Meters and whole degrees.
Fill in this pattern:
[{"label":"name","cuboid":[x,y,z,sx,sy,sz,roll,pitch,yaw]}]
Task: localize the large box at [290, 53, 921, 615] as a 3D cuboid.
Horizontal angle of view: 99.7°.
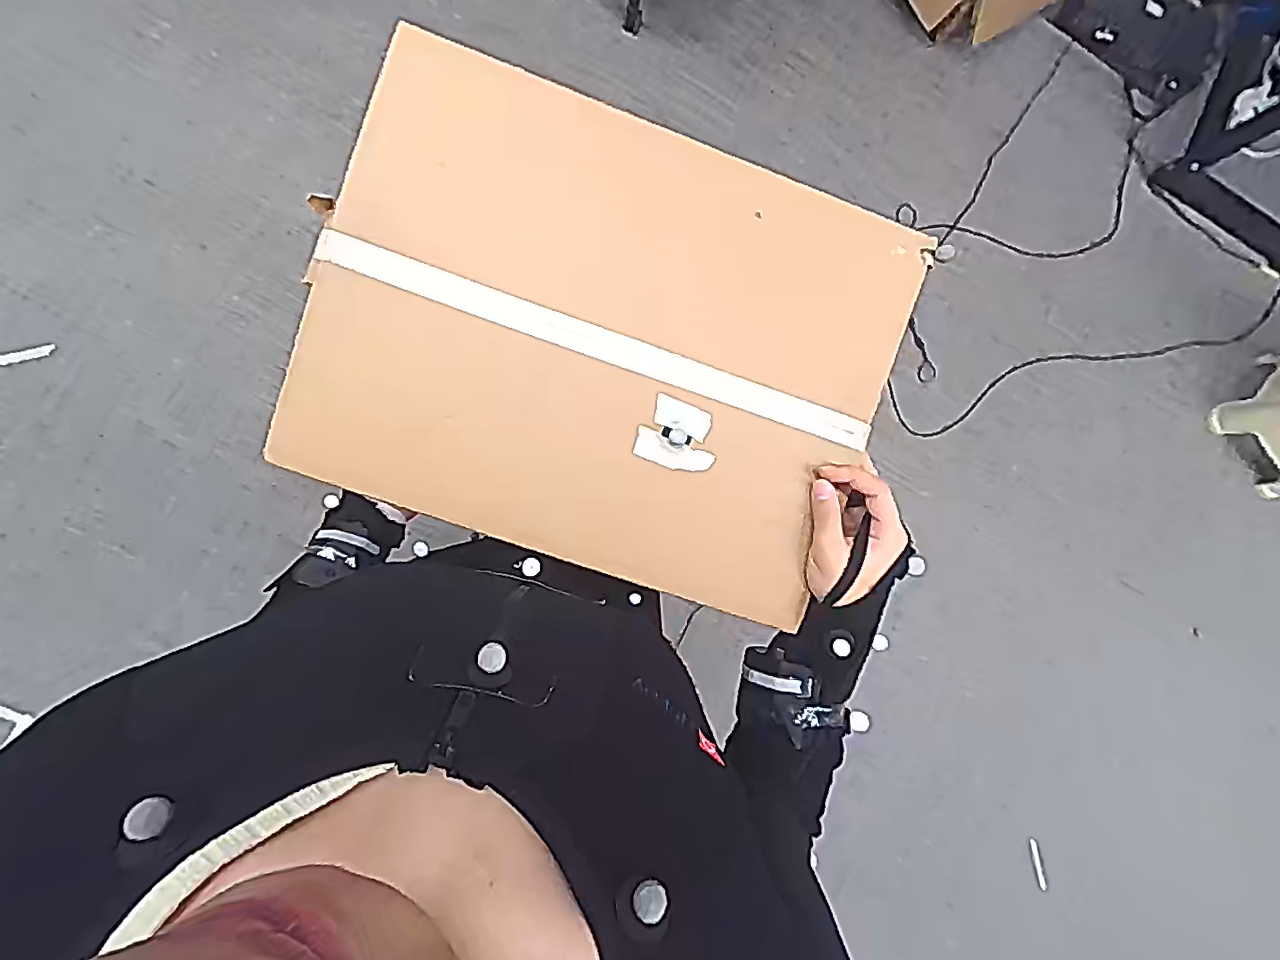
[{"label":"large box","cuboid":[-0.032,-0.104,0.544,0.408,0.320,0.320,18,93,-6]}]
